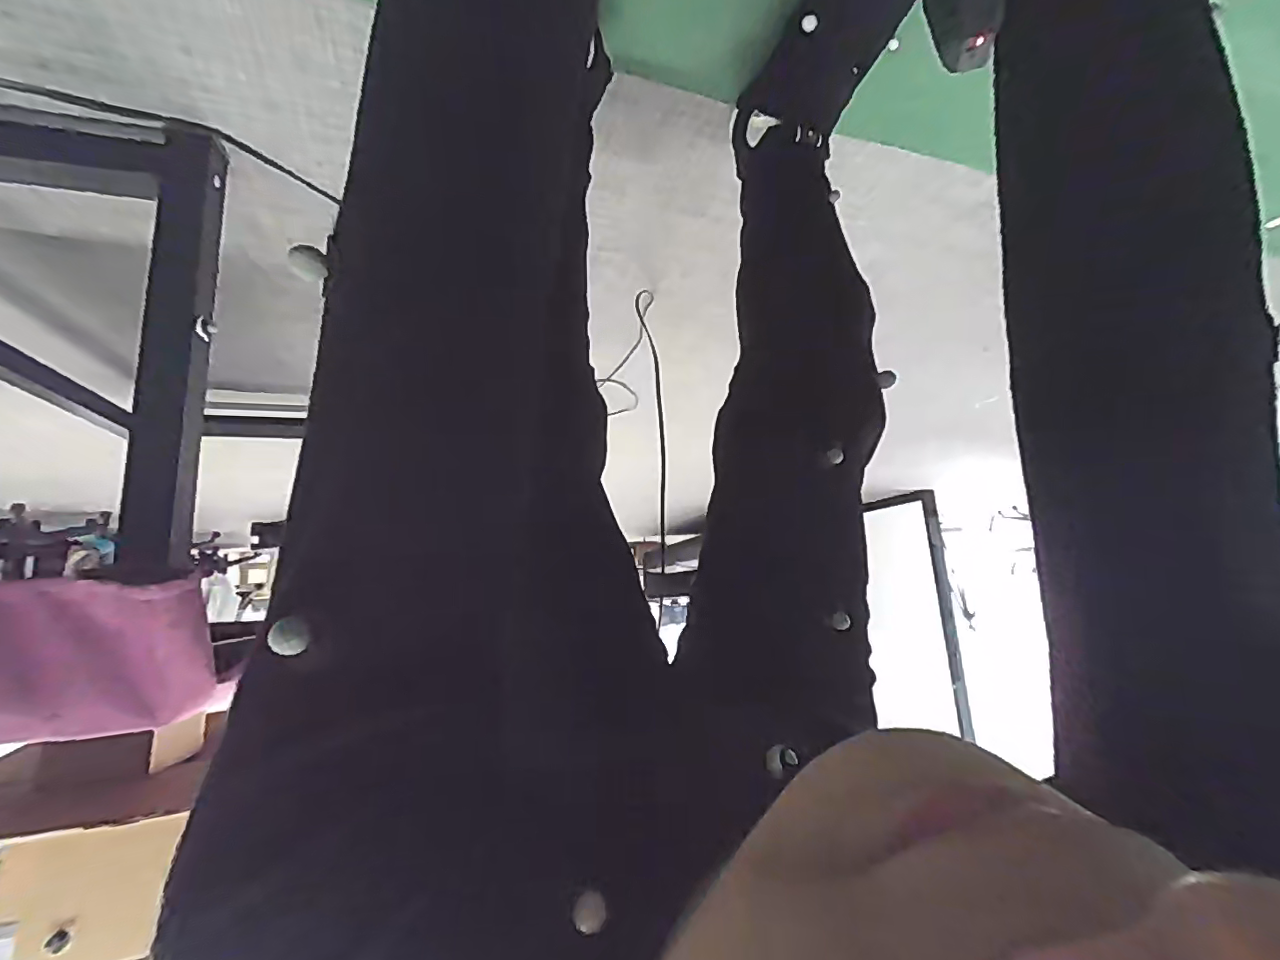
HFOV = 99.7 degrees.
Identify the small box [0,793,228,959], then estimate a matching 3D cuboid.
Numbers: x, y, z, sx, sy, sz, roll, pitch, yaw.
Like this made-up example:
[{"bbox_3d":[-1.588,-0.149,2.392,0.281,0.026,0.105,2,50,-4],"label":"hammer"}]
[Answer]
[{"bbox_3d":[-0.721,0.562,0.763,0.179,0.176,0.168,-1,165,-17],"label":"small box"}]
